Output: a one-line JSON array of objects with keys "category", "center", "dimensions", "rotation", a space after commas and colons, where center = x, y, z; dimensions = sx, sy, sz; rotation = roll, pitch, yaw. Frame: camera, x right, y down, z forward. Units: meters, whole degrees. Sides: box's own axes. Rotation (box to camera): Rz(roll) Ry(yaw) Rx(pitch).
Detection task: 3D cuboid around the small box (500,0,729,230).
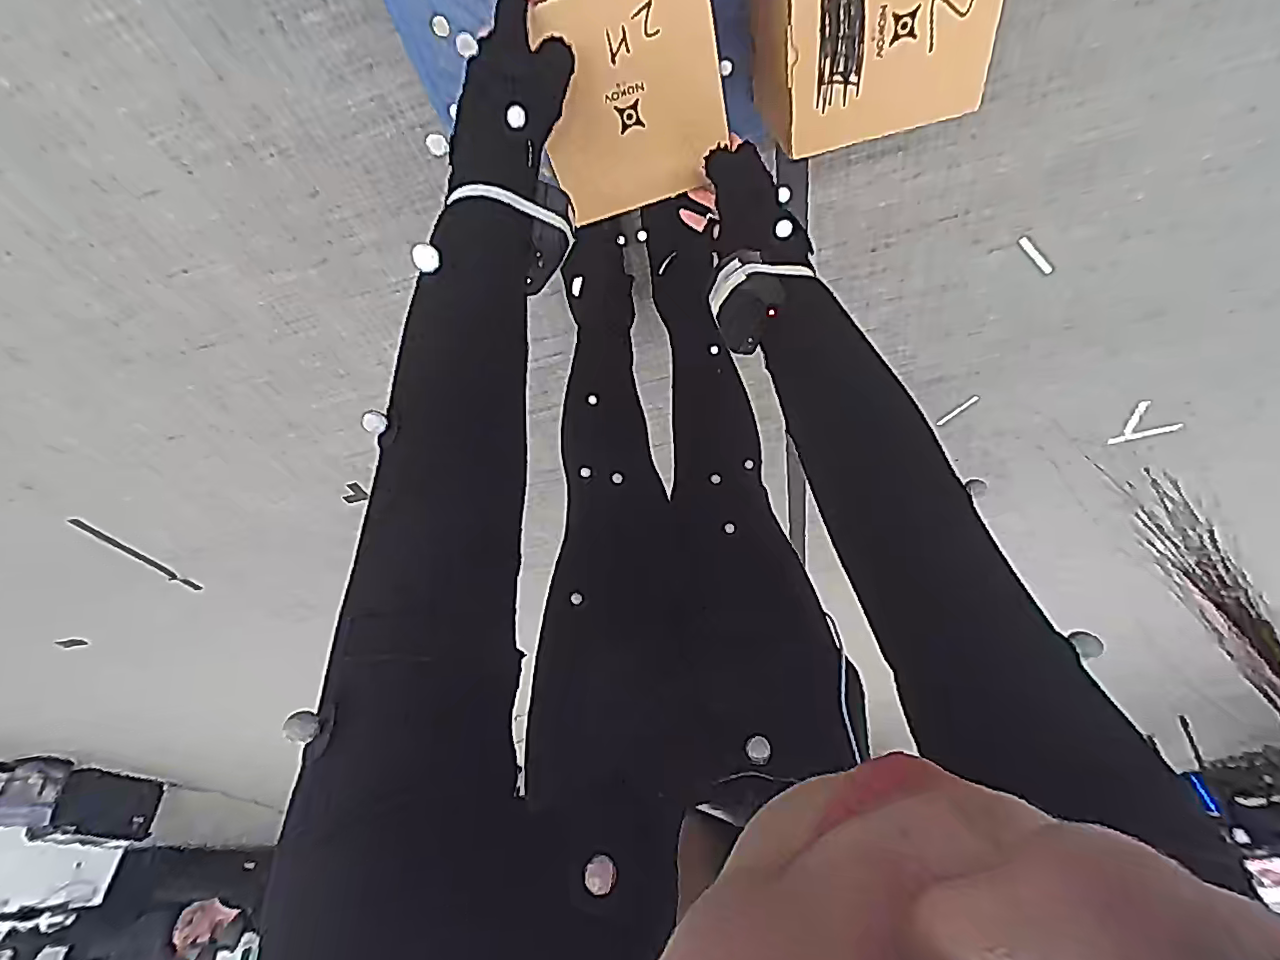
[{"category": "small box", "center": [-0.016, -0.387, 0.529], "dimensions": [0.168, 0.176, 0.179], "rotation": [-14, 139, 10]}]
